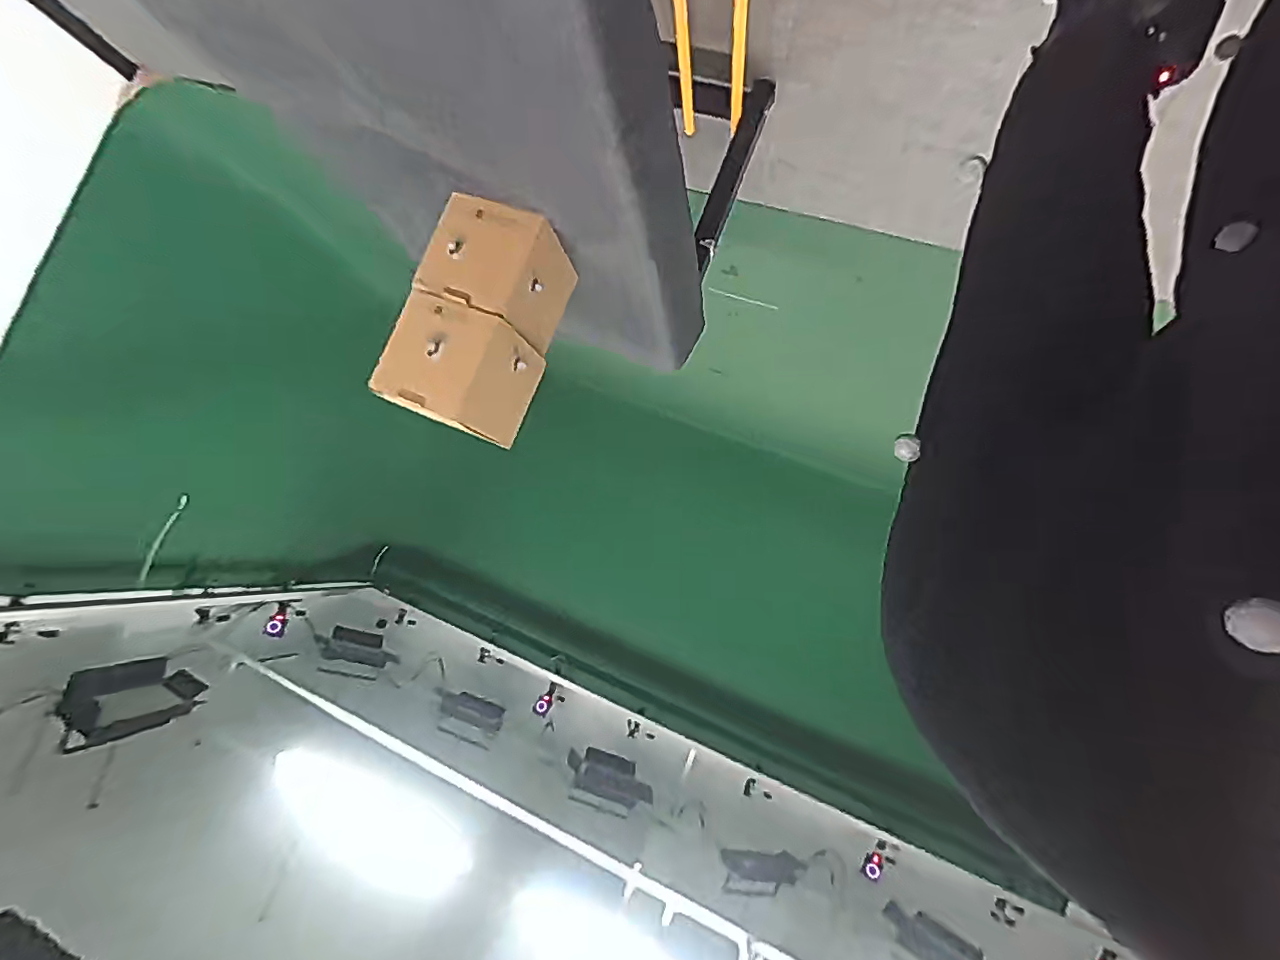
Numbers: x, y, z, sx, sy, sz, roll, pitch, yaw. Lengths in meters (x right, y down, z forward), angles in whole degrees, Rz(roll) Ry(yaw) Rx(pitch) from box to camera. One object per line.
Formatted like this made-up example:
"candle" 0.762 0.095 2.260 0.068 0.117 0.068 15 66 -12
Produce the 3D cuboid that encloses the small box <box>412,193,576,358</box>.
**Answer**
"small box" -0.226 -0.328 0.879 0.168 0.176 0.179 22 176 13

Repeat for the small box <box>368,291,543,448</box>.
"small box" -0.282 -0.174 0.864 0.168 0.176 0.179 22 175 15
